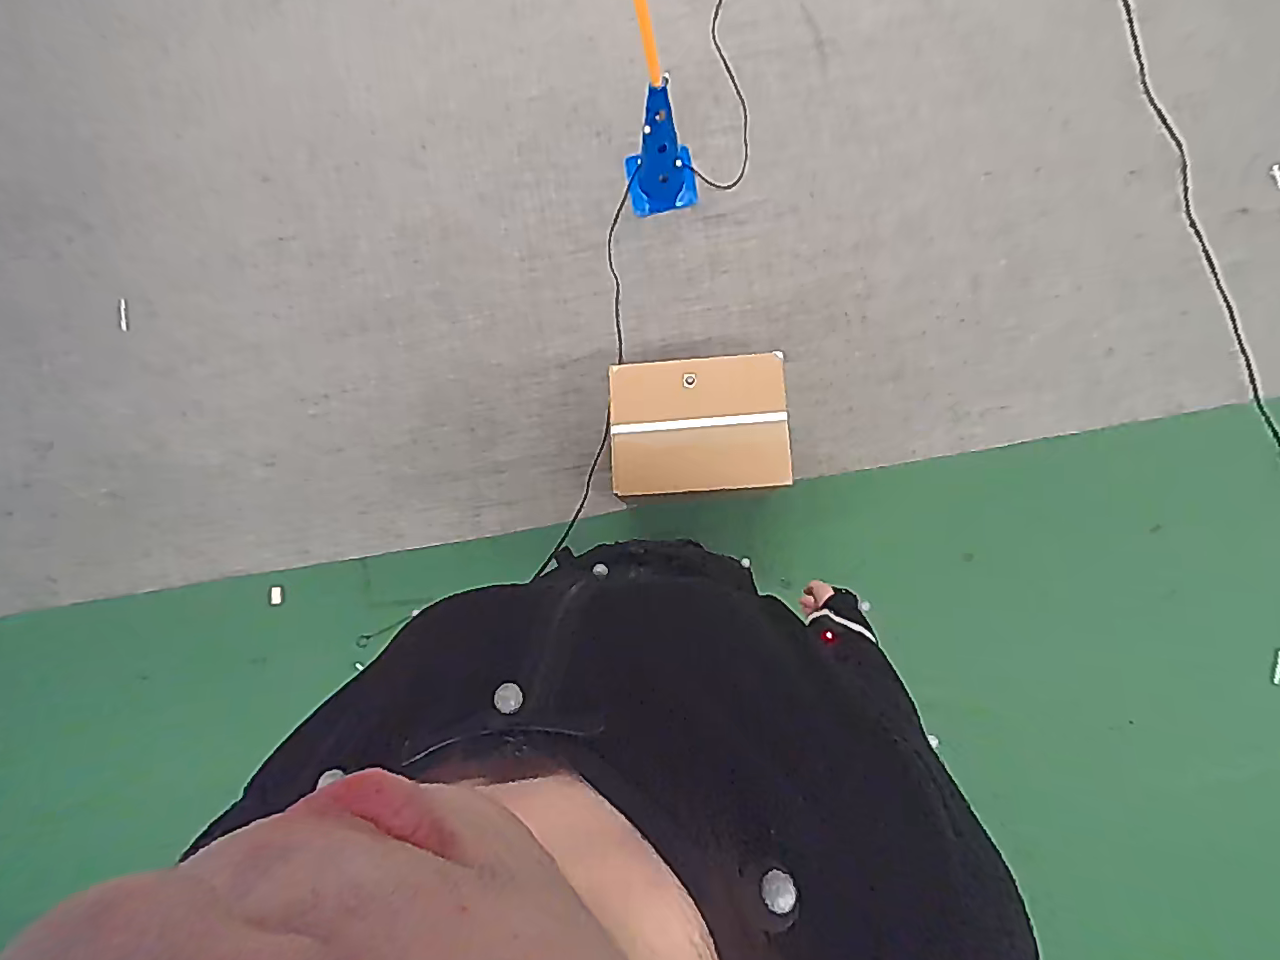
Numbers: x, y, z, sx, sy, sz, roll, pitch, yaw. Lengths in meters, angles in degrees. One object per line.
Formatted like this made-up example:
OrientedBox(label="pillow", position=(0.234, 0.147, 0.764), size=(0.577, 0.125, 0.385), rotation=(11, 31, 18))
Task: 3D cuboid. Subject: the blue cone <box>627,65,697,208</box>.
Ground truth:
OrientedBox(label="blue cone", position=(0.053, -0.930, 1.454), size=(0.193, 0.380, 0.192), rotation=(-13, 83, 4))
